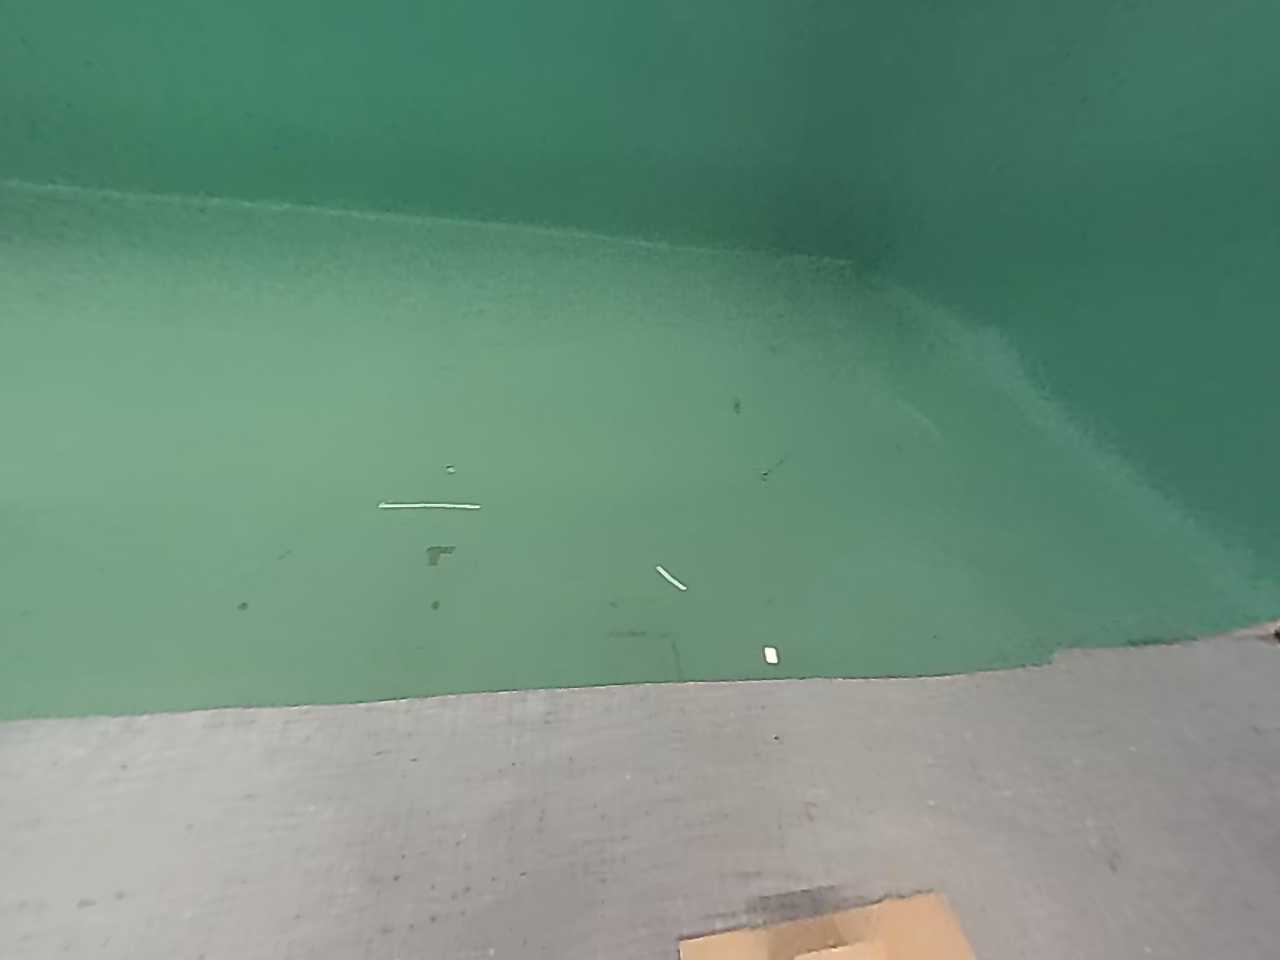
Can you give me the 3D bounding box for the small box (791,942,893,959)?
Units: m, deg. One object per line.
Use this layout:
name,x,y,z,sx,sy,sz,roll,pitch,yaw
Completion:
small box,0.359,0.941,0.952,0.179,0.176,0.168,-1,43,-10
